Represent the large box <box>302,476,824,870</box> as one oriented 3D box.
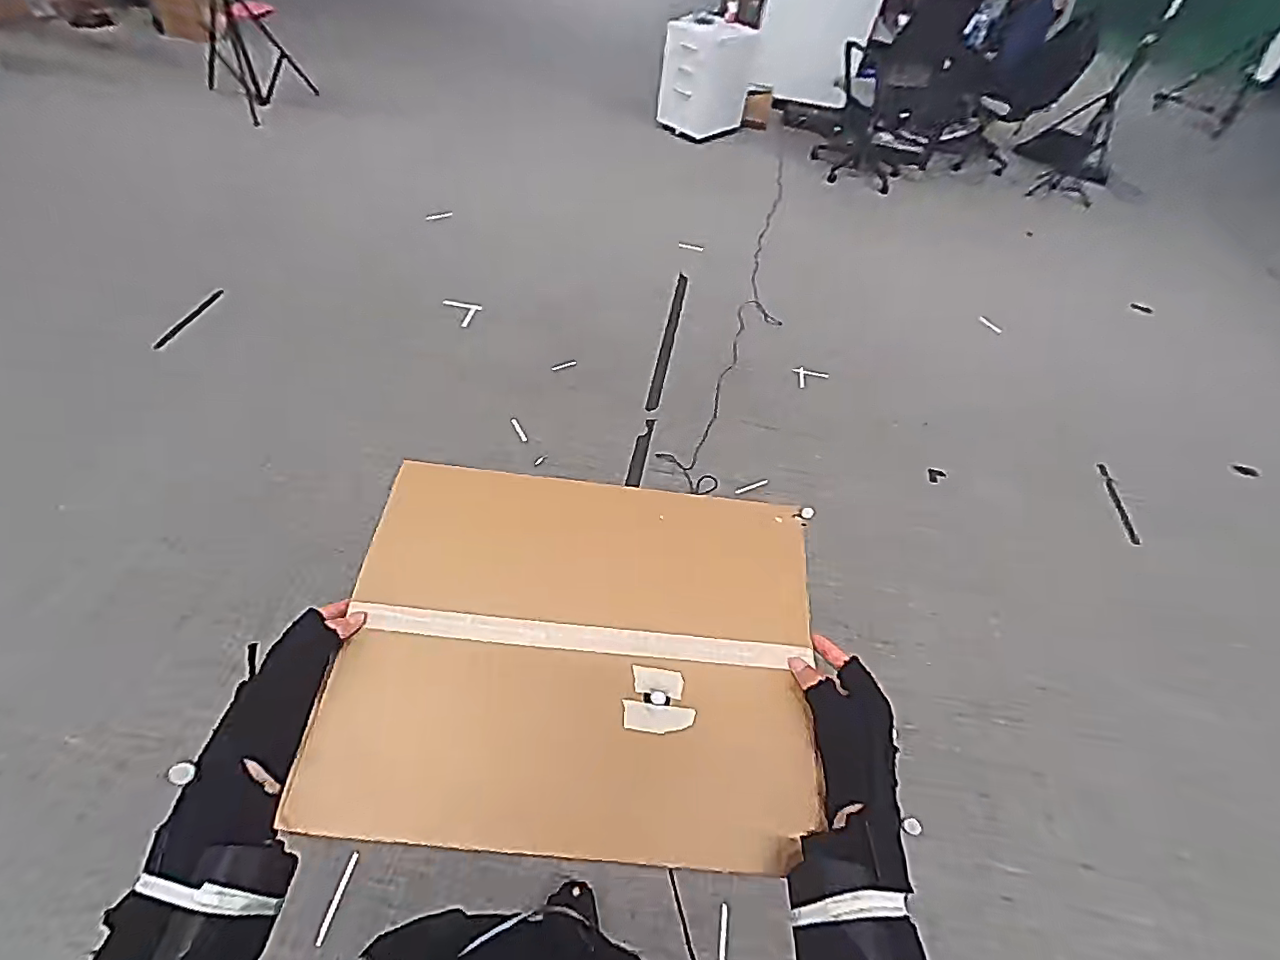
[{"bbox_3d":[-0.060,0.224,0.608,0.408,0.320,0.320,8,59,-3],"label":"large box"}]
